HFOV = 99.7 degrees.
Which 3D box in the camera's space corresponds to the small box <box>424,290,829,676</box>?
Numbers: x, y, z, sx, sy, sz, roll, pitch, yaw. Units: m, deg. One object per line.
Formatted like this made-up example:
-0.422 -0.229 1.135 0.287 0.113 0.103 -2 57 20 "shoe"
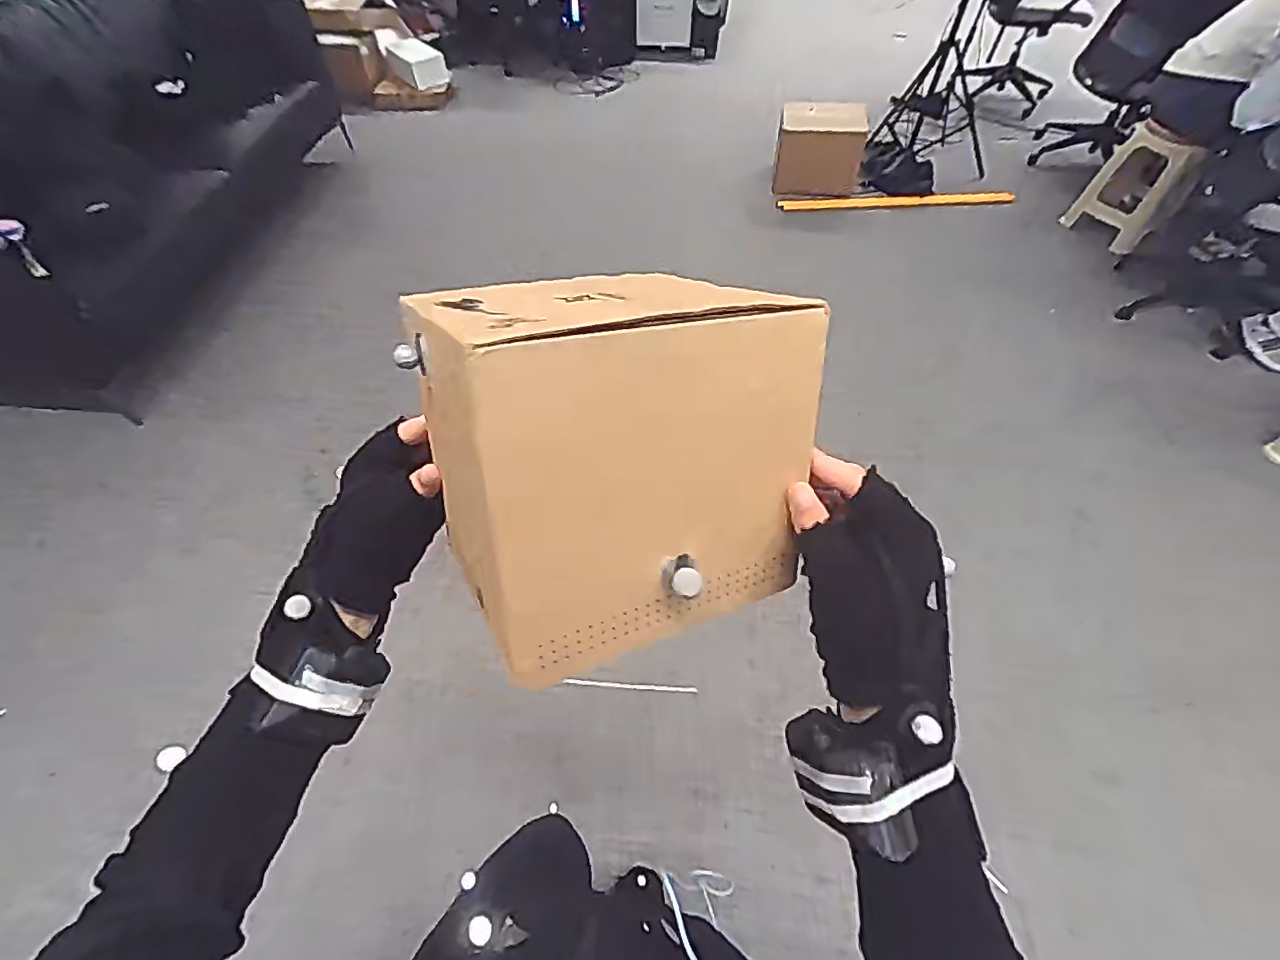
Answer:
-0.017 -0.018 0.332 0.179 0.176 0.168 -14 27 -27 "small box"
